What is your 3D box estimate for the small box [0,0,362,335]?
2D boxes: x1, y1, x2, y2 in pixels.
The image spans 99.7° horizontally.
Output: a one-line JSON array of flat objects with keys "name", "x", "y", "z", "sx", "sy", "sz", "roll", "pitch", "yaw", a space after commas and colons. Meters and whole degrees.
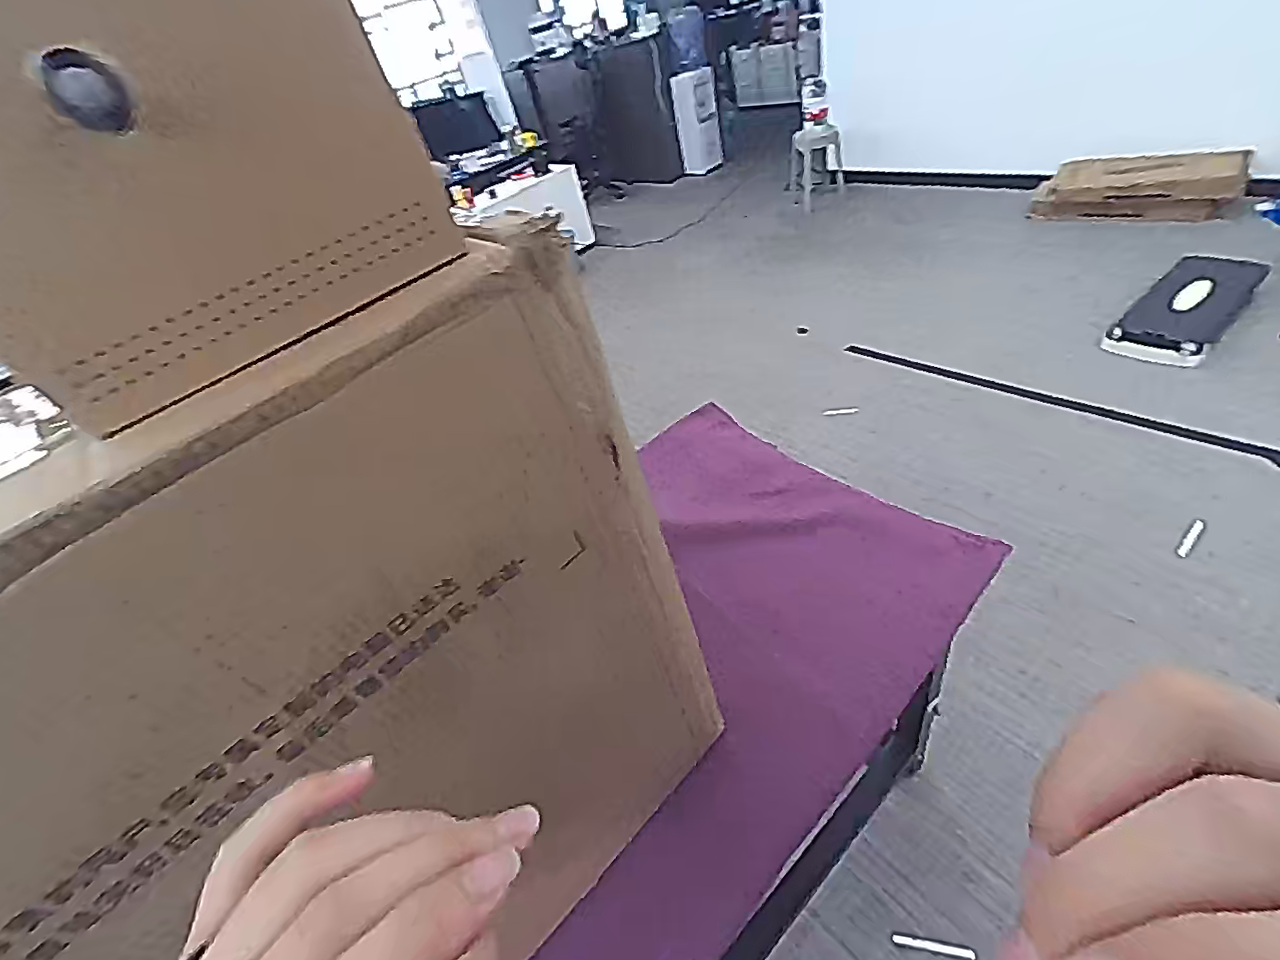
[{"name": "small box", "x": -0.327, "y": -0.217, "z": 0.355, "sx": 0.179, "sy": 0.176, "sz": 0.168, "roll": -40, "pitch": 44, "yaw": -22}]
